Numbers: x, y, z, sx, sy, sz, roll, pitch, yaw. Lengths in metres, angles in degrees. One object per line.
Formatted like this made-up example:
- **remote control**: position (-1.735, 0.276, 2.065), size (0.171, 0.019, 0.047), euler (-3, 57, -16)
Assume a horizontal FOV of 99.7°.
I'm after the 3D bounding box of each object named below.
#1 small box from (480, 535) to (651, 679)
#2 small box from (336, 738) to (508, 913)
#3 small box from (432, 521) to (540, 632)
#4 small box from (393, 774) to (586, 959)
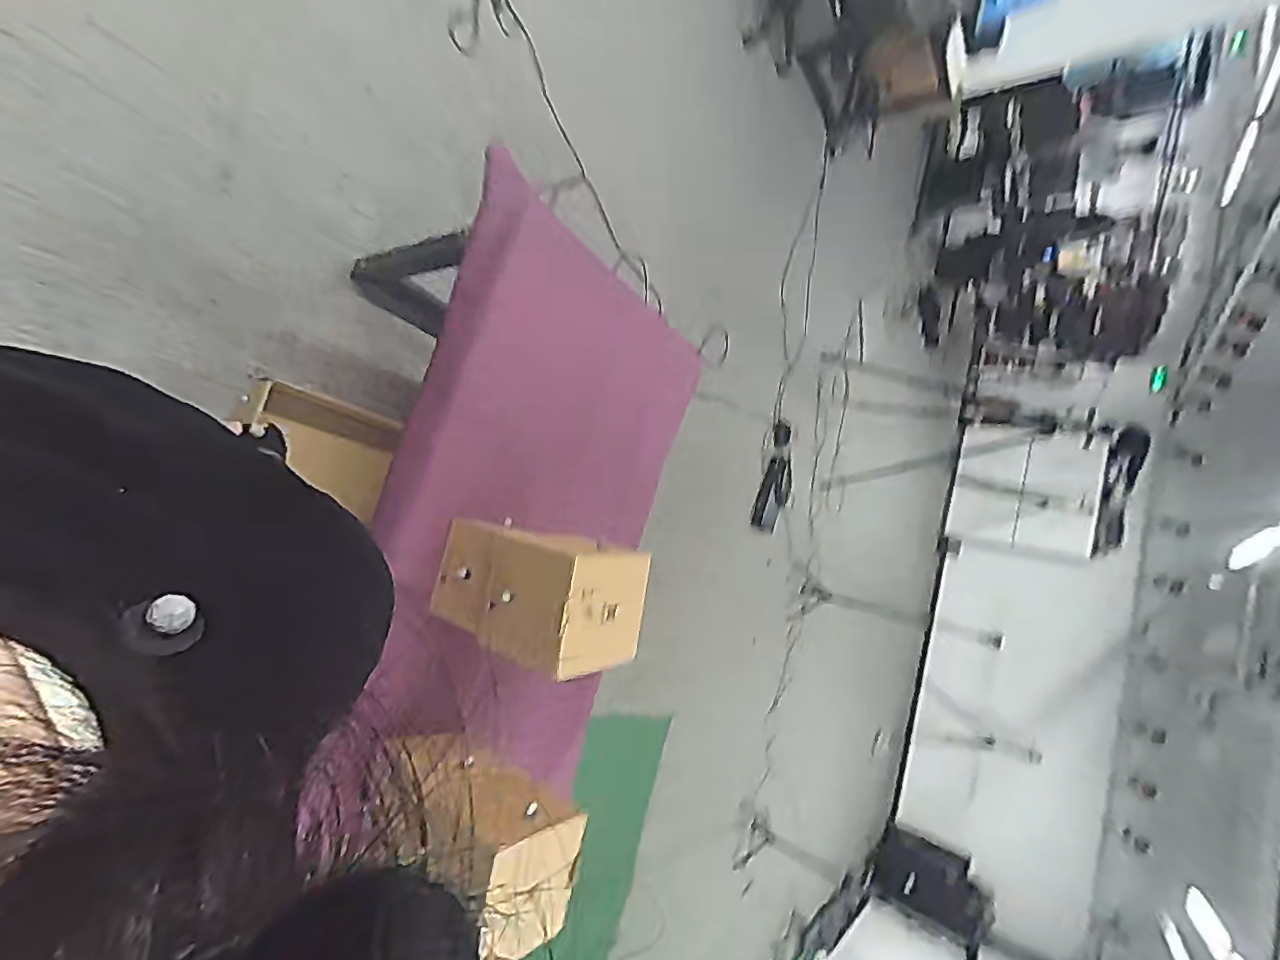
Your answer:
- **small box**: position (-0.110, 0.180, 0.818), size (0.179, 0.176, 0.168), euler (11, 87, -52)
- **small box**: position (-0.341, 0.530, 0.864), size (0.179, 0.176, 0.168), euler (28, 75, -51)
- **small box**: position (-0.228, 0.172, 0.937), size (0.179, 0.176, 0.168), euler (21, 81, -52)
- **small box**: position (-0.210, 0.545, 0.768), size (0.179, 0.176, 0.168), euler (24, 77, -52)
